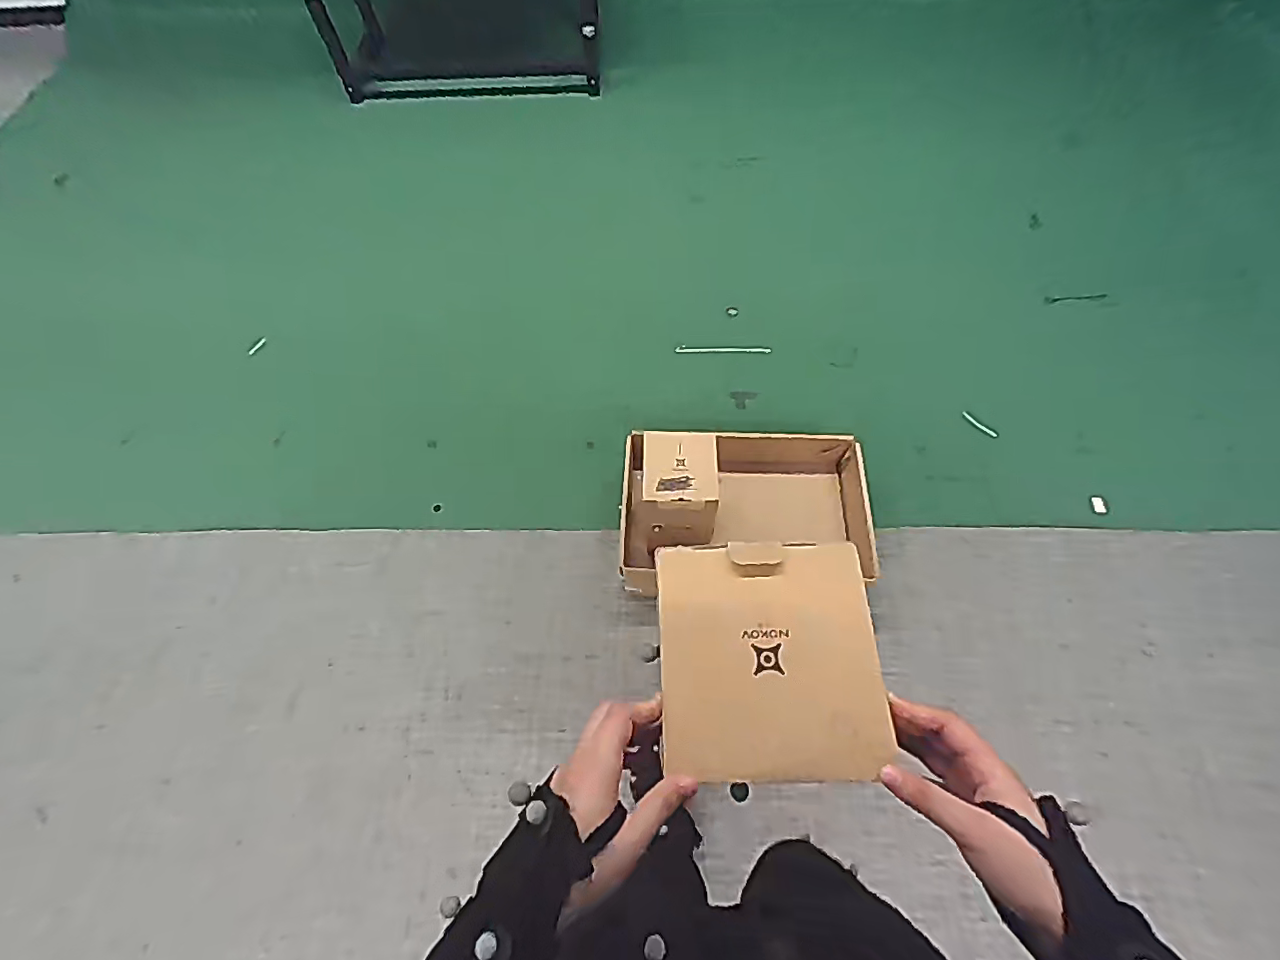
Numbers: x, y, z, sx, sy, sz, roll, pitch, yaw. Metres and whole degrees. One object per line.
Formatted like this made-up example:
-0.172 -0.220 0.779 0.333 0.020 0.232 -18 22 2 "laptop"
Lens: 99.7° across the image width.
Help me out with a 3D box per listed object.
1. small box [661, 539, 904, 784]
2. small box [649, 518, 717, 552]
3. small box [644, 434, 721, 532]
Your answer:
0.103 0.162 0.478 0.168 0.176 0.179 -1 63 2 "small box"
0.106 0.078 1.402 0.168 0.176 0.179 -1 63 1 "small box"
0.096 0.012 1.252 0.168 0.176 0.179 1 62 1 "small box"
